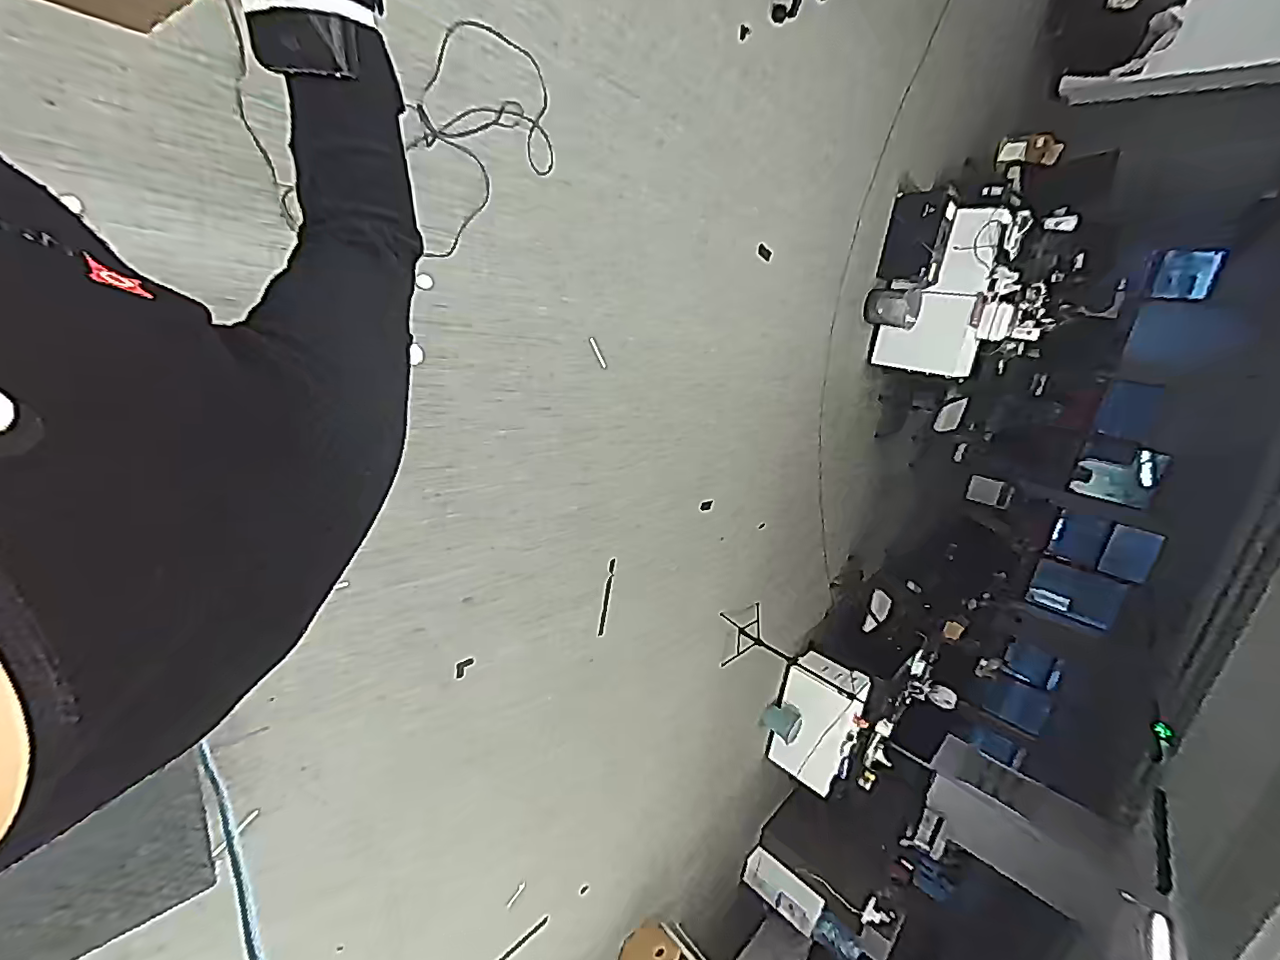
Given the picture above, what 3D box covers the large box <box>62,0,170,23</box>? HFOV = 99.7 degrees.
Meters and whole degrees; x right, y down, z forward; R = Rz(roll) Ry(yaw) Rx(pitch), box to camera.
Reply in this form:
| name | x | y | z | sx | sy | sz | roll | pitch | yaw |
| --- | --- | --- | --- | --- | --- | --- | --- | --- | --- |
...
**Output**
| name | x | y | z | sx | sy | sz | roll | pitch | yaw |
| --- | --- | --- | --- | --- | --- | --- | --- | --- | --- |
| large box | -0.464 | -0.482 | 0.225 | 0.408 | 0.320 | 0.320 | -14 | 121 | -48 |
